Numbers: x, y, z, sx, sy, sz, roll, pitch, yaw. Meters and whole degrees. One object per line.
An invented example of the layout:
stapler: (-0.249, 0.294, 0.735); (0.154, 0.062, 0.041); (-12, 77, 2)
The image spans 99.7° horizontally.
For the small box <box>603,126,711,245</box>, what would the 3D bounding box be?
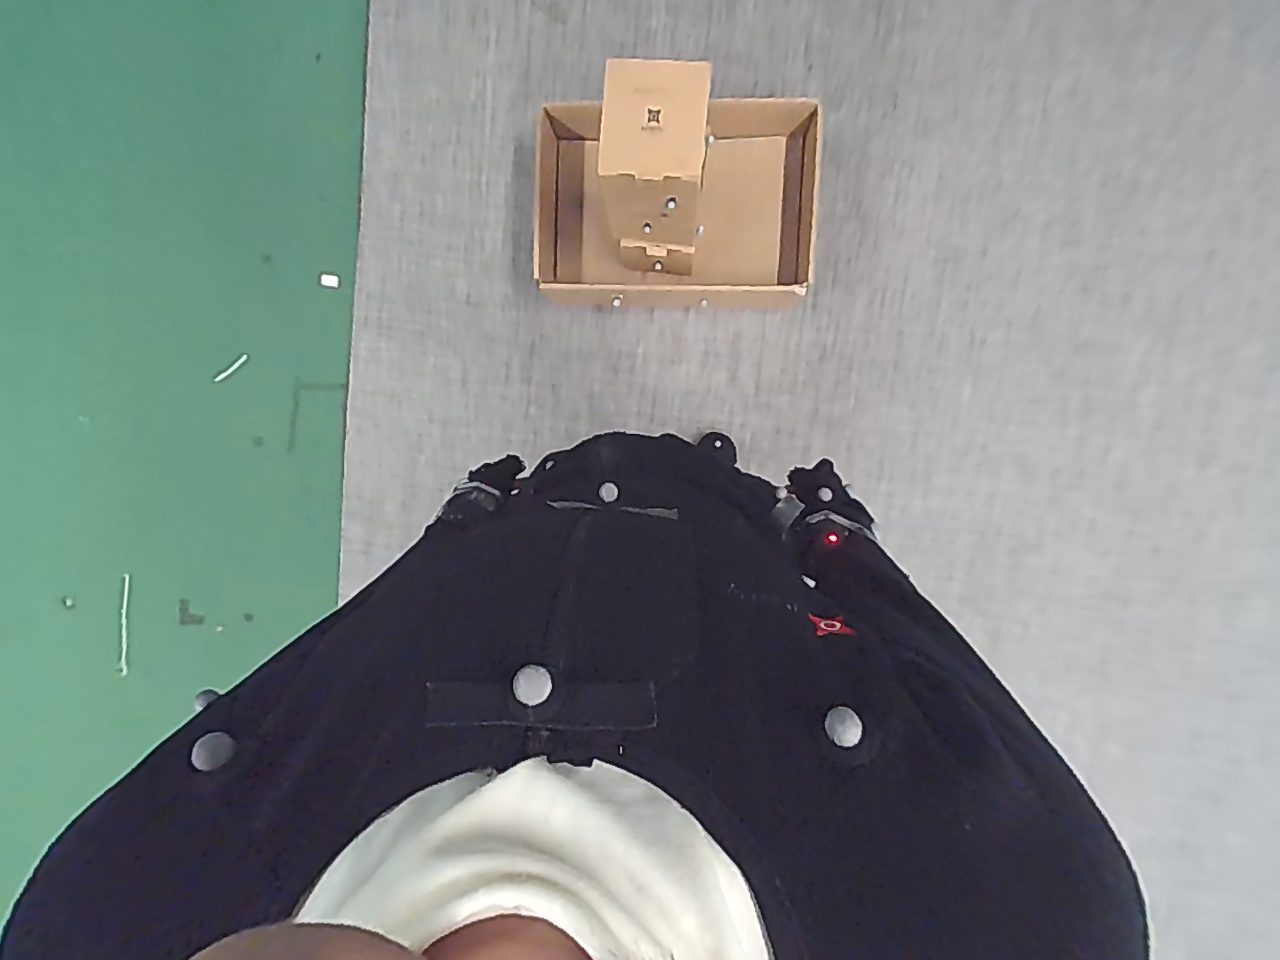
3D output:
small box: (0.038, -0.588, 1.076); (0.179, 0.176, 0.168); (11, 95, 4)

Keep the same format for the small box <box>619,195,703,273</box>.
small box: (0.053, -0.591, 1.241); (0.168, 0.176, 0.179); (9, 96, 3)

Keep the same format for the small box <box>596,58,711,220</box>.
small box: (0.025, -0.564, 0.917); (0.168, 0.176, 0.179); (6, 93, 2)
